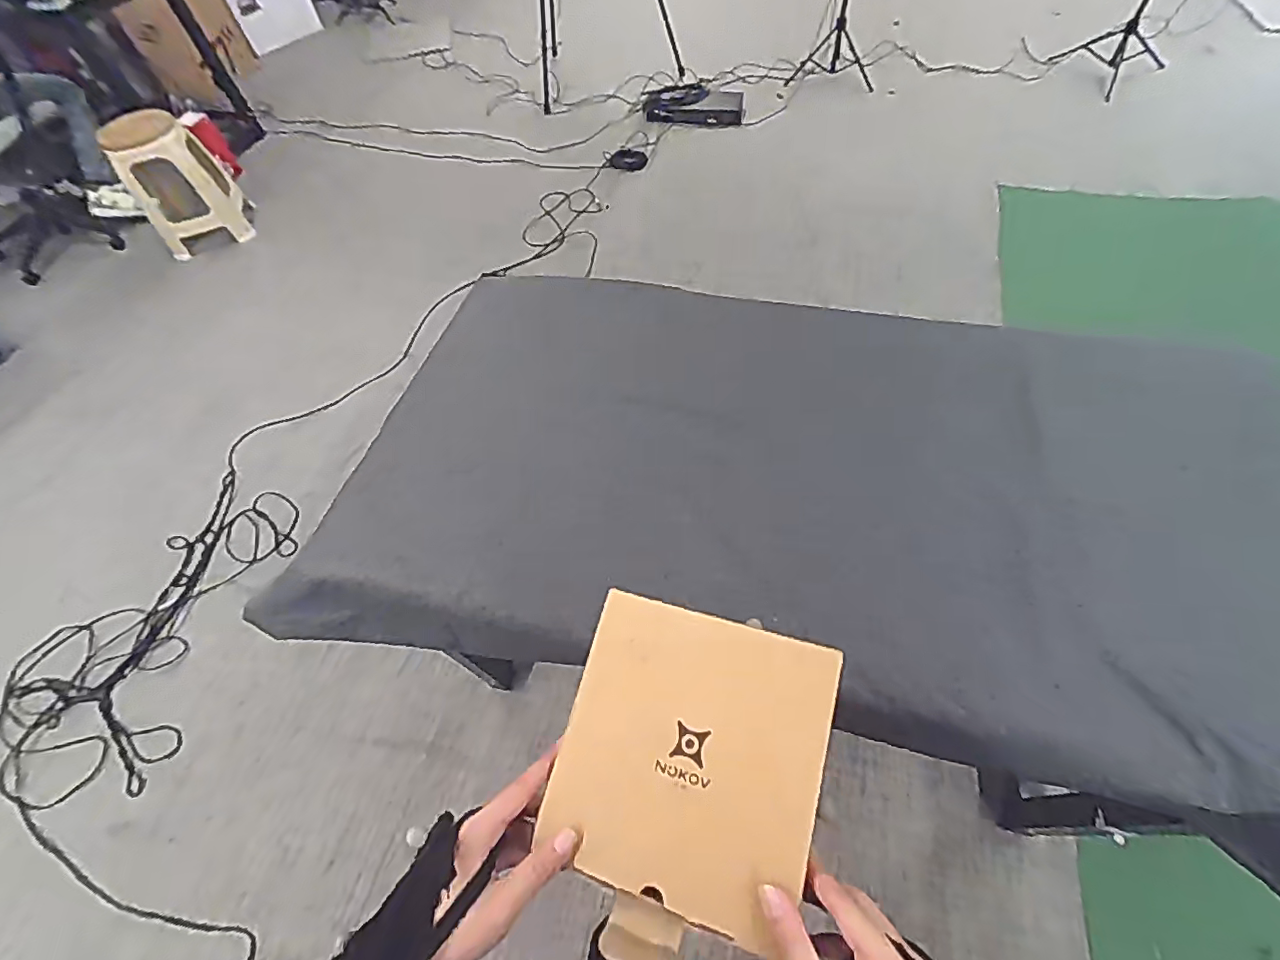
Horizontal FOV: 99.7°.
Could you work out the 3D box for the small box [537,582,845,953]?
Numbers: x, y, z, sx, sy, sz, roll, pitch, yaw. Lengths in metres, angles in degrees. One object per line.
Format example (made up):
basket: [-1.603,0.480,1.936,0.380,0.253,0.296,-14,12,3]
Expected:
small box: [0.048,0.197,0.420,0.168,0.176,0.179,12,72,16]
